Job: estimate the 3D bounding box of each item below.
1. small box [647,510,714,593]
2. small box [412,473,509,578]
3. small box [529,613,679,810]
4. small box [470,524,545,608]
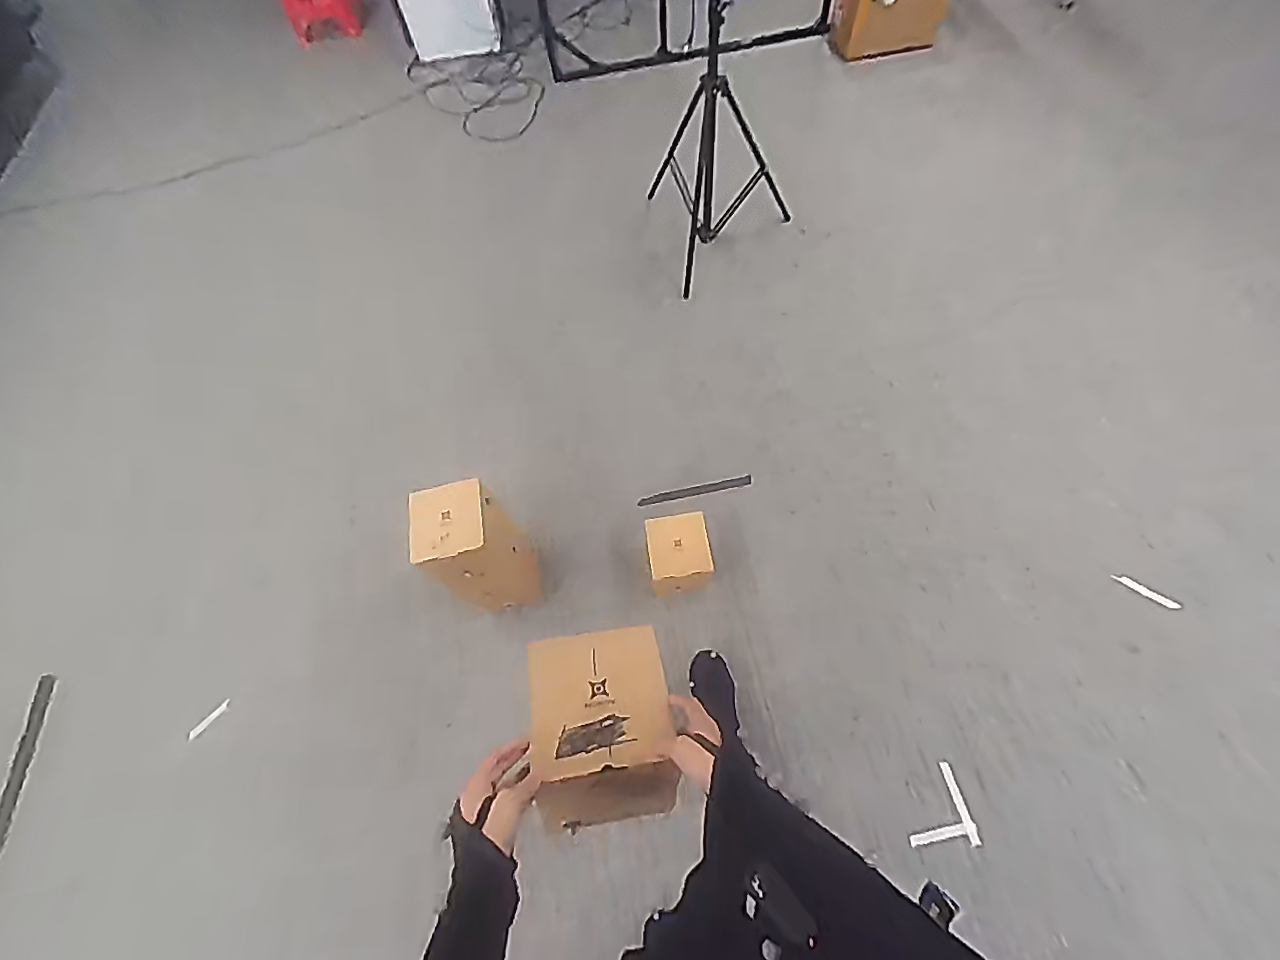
[{"bbox_3d":[0.112,0.205,1.534,0.168,0.176,0.179,-9,64,1],"label":"small box"},{"bbox_3d":[-0.414,0.111,1.261,0.168,0.176,0.179,-13,64,0],"label":"small box"},{"bbox_3d":[-0.050,0.300,0.697,0.168,0.176,0.179,-5,42,-9],"label":"small box"},{"bbox_3d":[-0.380,0.252,1.555,0.168,0.176,0.179,-13,63,0],"label":"small box"}]
